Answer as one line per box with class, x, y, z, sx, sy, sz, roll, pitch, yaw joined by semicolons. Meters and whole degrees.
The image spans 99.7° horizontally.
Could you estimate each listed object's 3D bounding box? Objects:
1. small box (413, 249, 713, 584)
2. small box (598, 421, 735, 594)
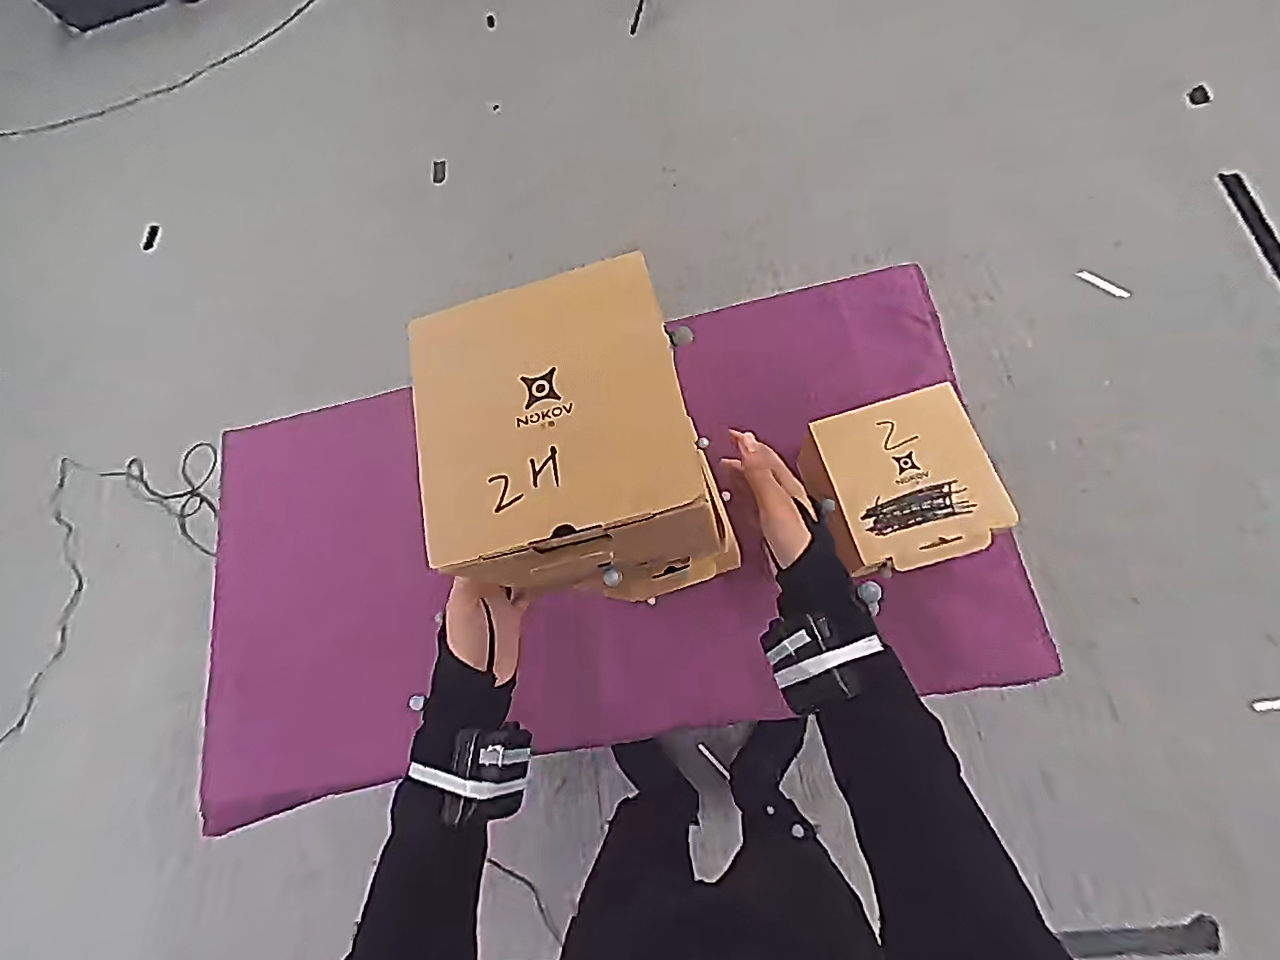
small box;-0.046;-0.030;0.407;0.168;0.176;0.179;-14;72;7
small box;0.023;0.046;0.719;0.168;0.176;0.179;-19;71;5
